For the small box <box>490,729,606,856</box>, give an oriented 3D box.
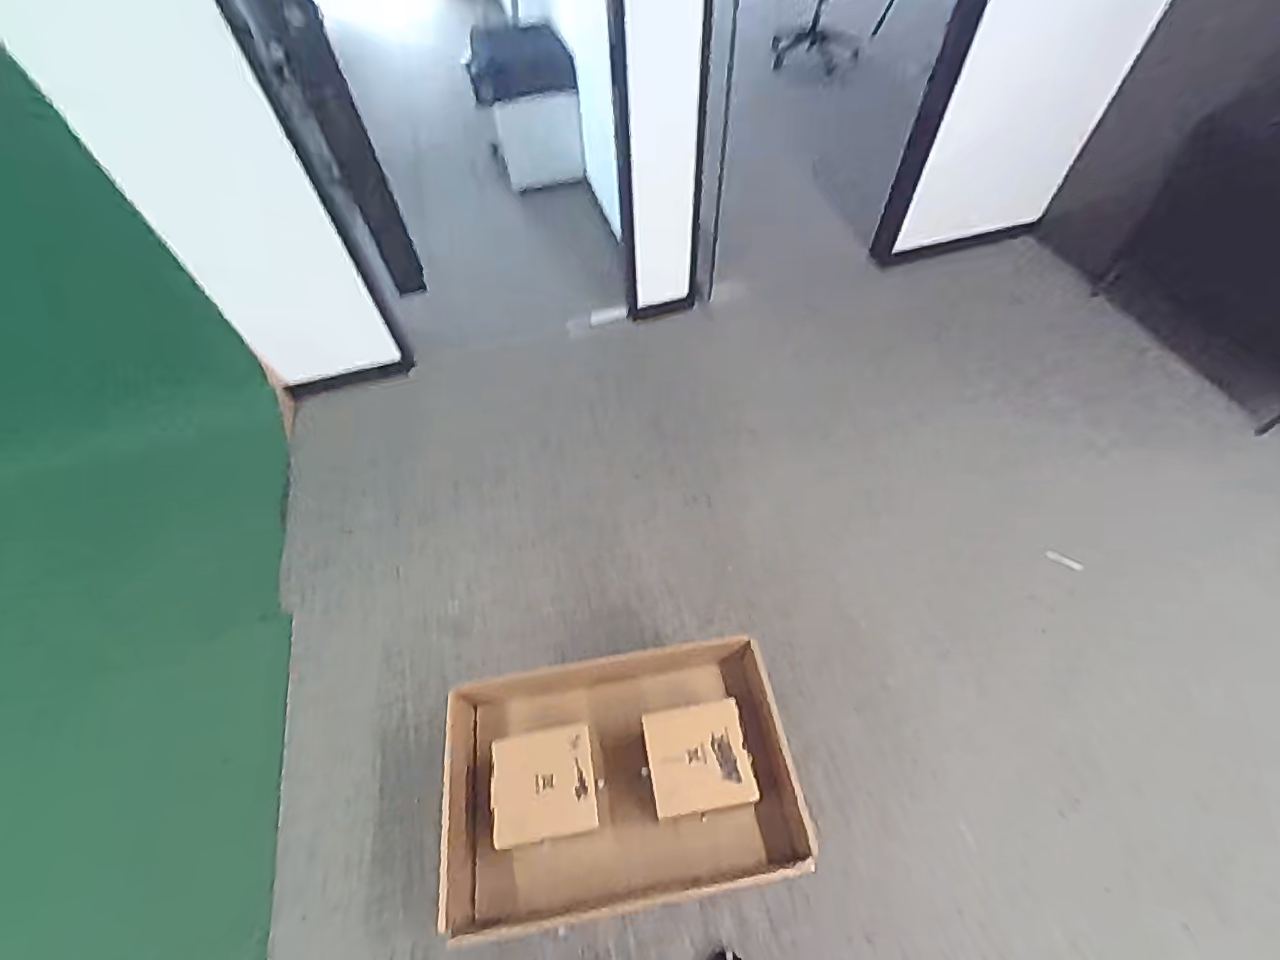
[{"bbox_3d":[-0.165,0.573,0.988,0.179,0.176,0.168,-9,54,-3],"label":"small box"}]
